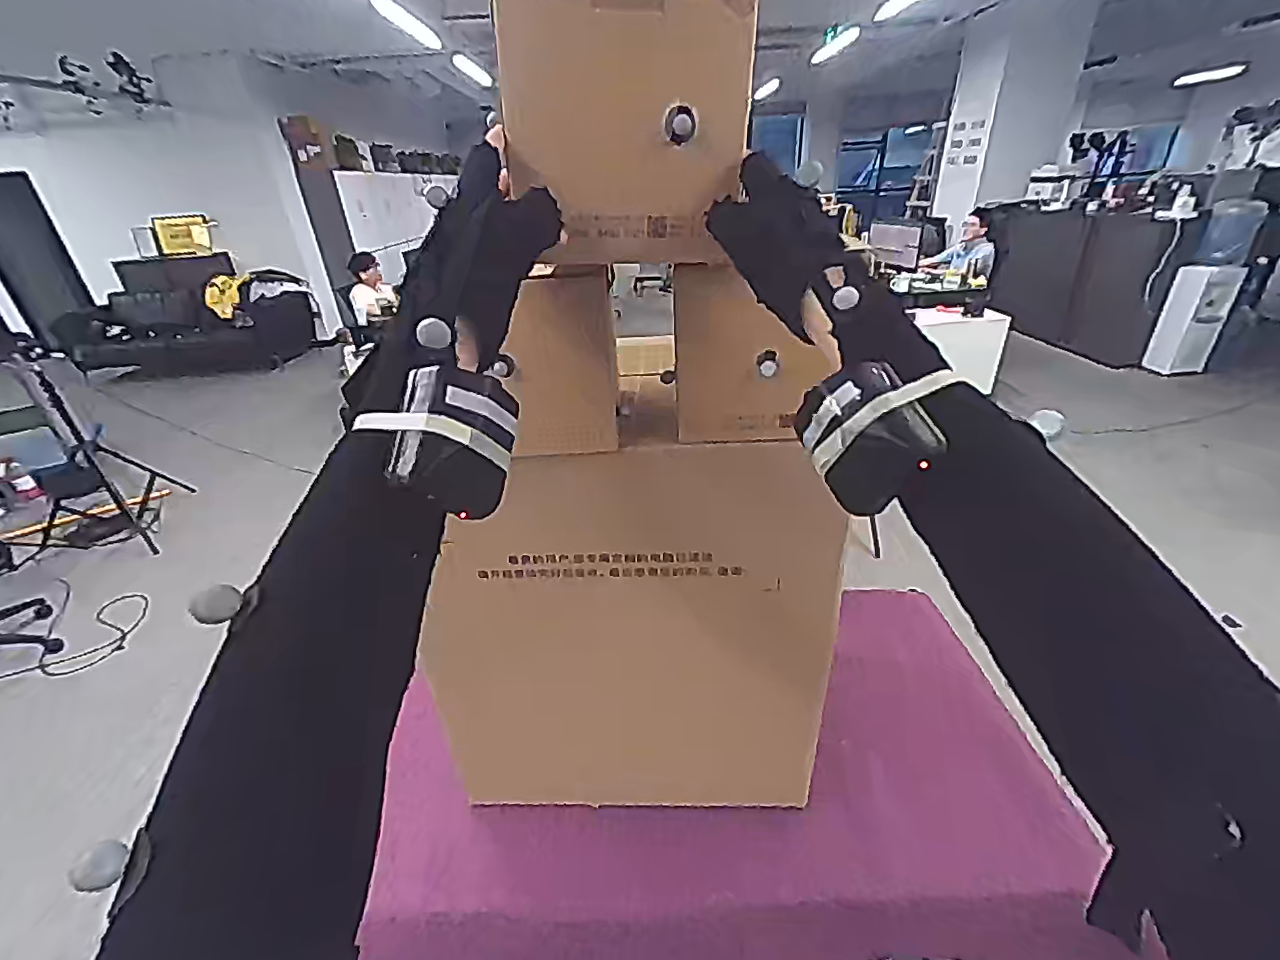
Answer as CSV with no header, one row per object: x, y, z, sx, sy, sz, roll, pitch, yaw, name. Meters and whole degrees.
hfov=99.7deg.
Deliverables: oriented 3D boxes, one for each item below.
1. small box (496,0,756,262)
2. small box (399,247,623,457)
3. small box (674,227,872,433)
-0.014,-0.276,0.437,0.168,0.176,0.179,-2,31,-6,small box
-0.110,-0.136,0.554,0.179,0.176,0.168,-4,30,1,small box
0.120,-0.155,0.558,0.168,0.176,0.179,-1,31,4,small box
